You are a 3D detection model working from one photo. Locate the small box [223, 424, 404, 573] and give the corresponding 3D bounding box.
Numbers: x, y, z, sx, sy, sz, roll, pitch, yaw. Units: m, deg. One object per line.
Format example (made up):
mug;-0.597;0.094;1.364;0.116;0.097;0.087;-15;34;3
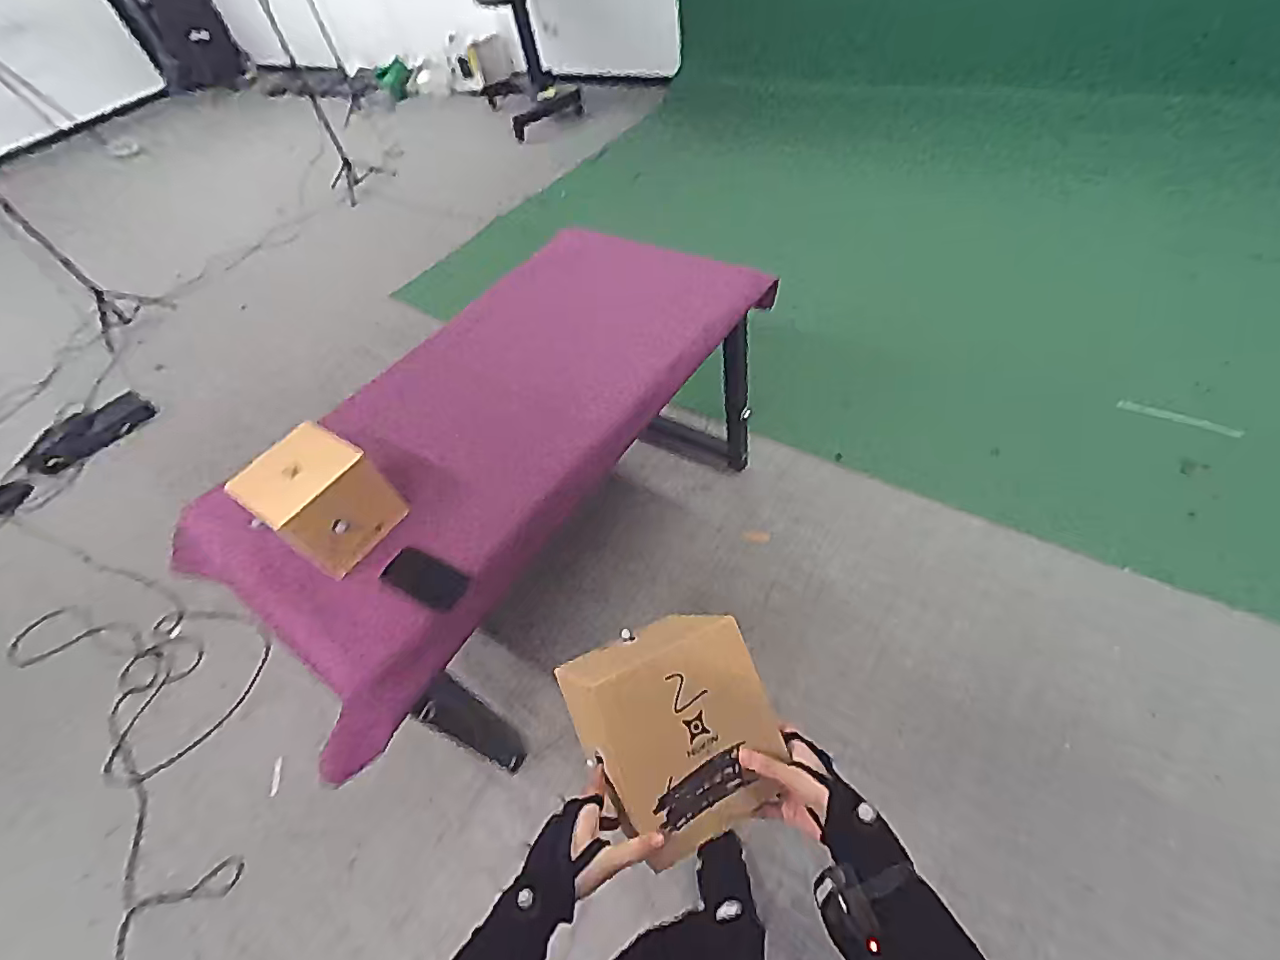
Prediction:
small box;-0.550;0.037;0.935;0.179;0.176;0.168;23;59;27
